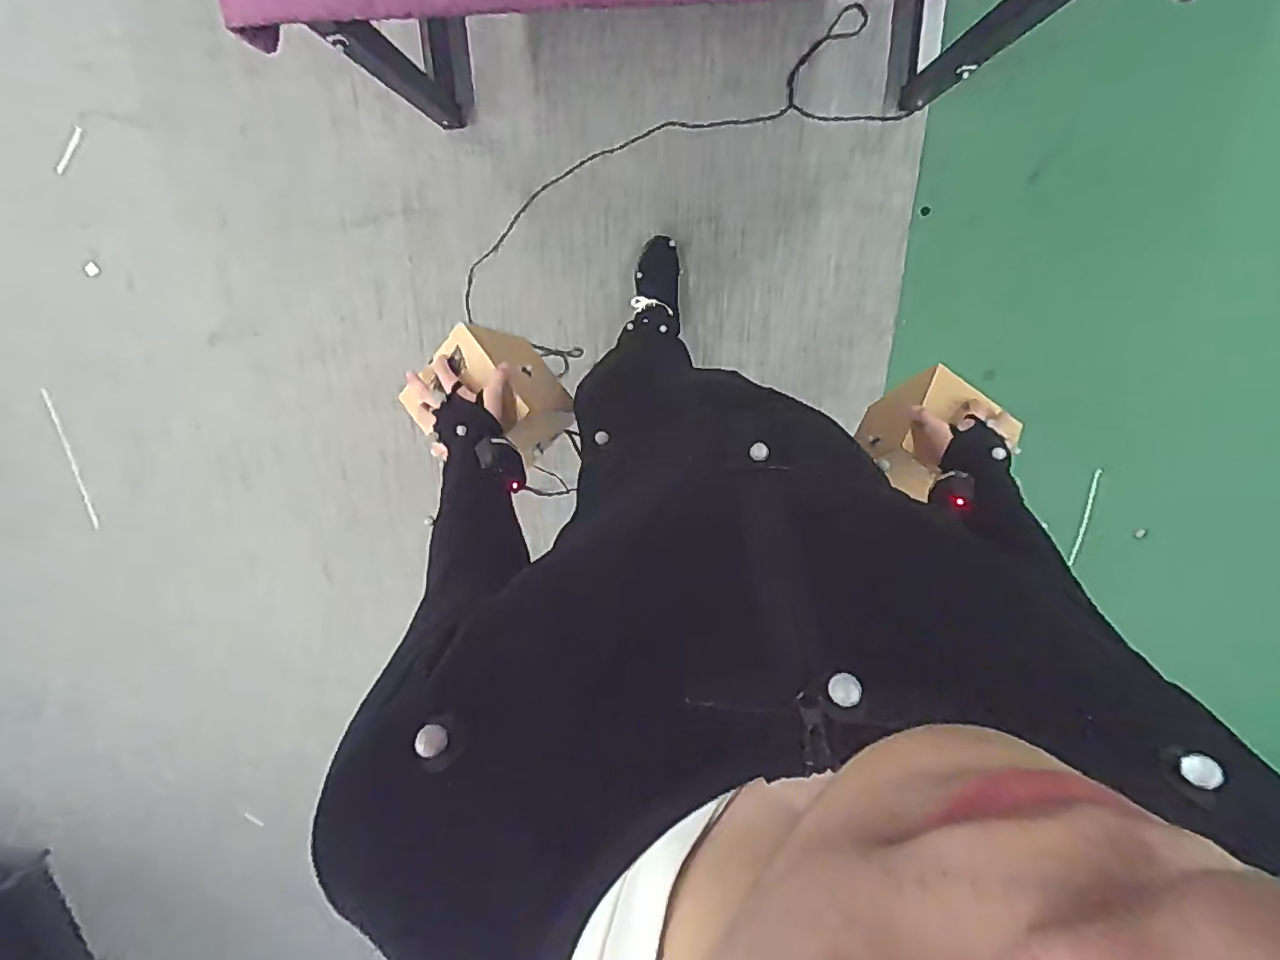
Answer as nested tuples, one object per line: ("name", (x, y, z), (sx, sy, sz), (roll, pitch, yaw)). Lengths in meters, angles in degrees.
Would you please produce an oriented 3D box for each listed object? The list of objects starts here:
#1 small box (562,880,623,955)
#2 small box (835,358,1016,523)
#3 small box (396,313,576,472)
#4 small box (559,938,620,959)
("small box", (-0.138, 1.339, 1.607), (0.168, 0.176, 0.179), (2, 108, 1))
("small box", (0.444, -0.052, 0.864), (0.168, 0.176, 0.179), (36, 68, -3))
("small box", (-0.237, -0.133, 0.860), (0.168, 0.176, 0.179), (-42, 82, 20))
("small box", (-0.143, 1.386, 1.452), (0.168, 0.176, 0.179), (2, 107, 2))
